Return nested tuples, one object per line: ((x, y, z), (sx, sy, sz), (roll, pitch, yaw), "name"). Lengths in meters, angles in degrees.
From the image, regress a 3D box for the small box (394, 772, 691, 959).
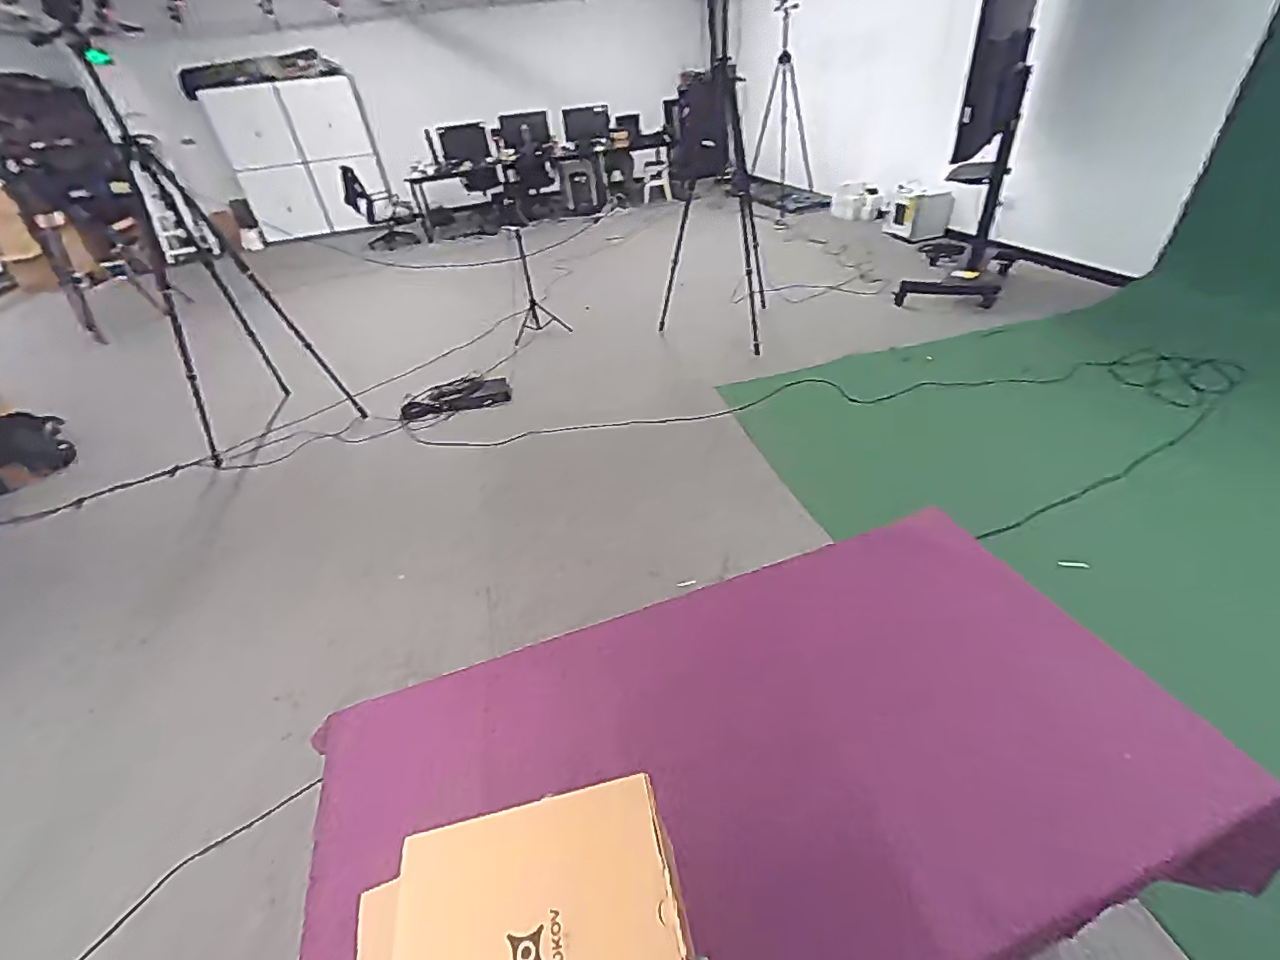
((-0.055, 0.340, 0.377), (0.179, 0.176, 0.168), (-11, 40, -5), "small box")
